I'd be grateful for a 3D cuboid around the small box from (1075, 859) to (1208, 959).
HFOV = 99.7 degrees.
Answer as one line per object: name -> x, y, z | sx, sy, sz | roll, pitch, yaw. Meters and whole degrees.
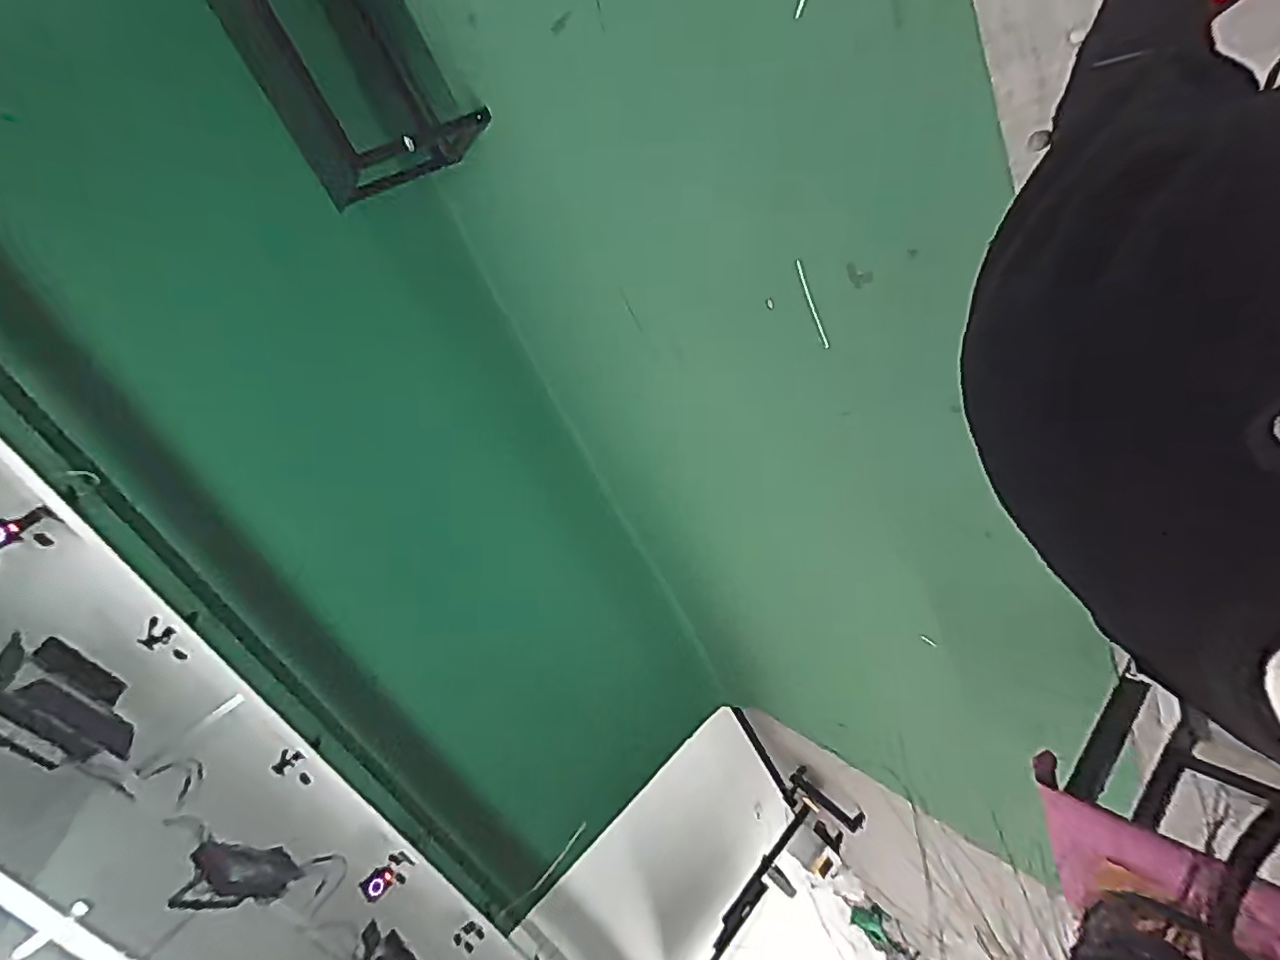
small box -> 1.071, 0.967, 1.151 | 0.179, 0.176, 0.168 | 10, 134, 56
